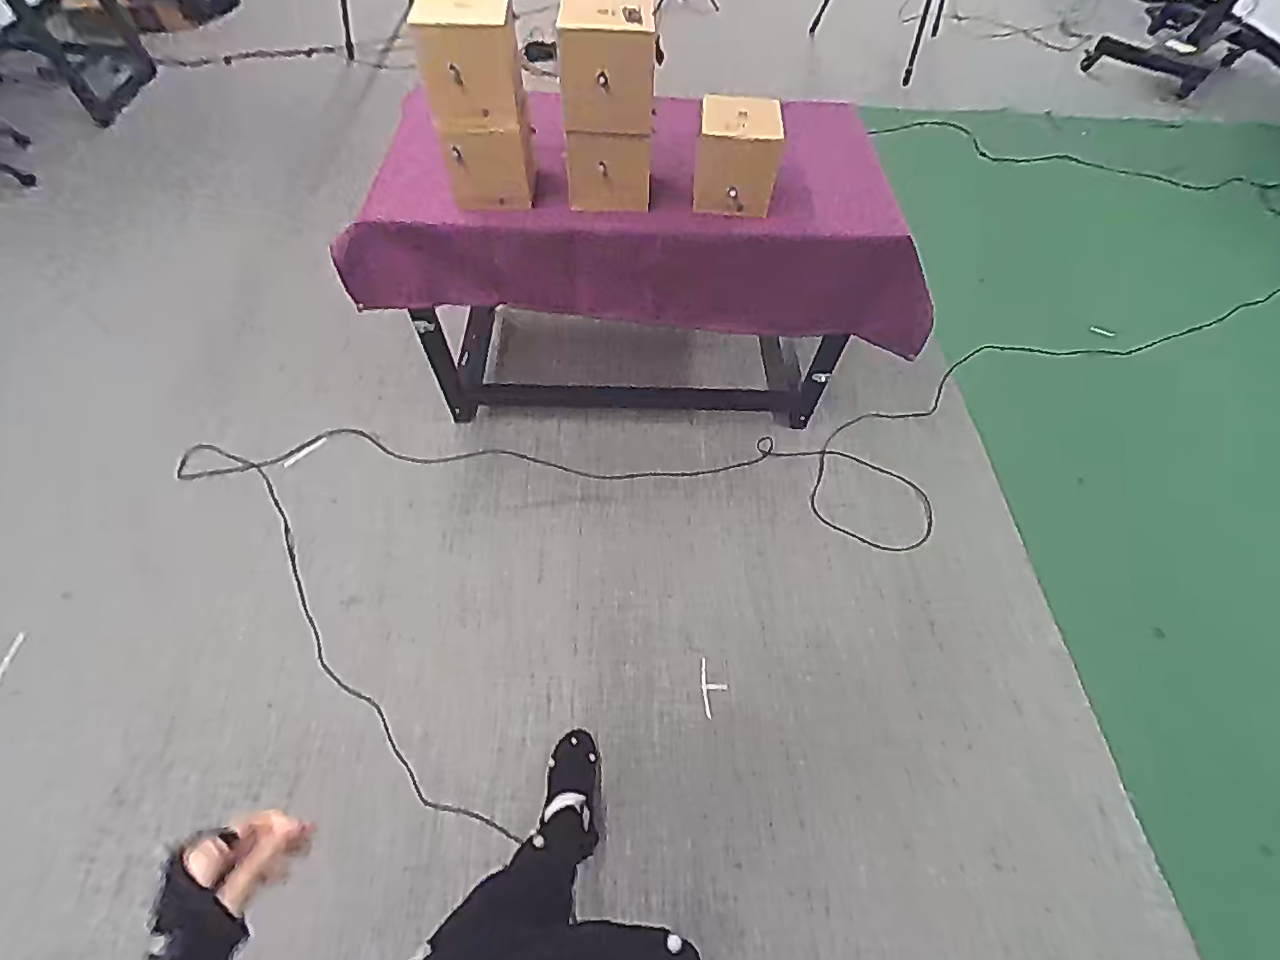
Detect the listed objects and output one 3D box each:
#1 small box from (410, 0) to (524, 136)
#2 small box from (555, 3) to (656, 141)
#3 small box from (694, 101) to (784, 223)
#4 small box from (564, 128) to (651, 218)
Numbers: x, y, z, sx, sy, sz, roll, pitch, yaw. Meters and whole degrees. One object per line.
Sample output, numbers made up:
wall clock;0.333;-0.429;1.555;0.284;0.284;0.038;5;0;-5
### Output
small box;-0.321;-0.791;1.044;0.168;0.176;0.179;-3;57;-4
small box;-0.061;-0.781;1.042;0.179;0.176;0.168;1;57;-1
small box;0.211;-0.697;1.190;0.168;0.176;0.179;5;57;2
small box;-0.066;-0.696;1.184;0.179;0.176;0.168;-1;58;-2
